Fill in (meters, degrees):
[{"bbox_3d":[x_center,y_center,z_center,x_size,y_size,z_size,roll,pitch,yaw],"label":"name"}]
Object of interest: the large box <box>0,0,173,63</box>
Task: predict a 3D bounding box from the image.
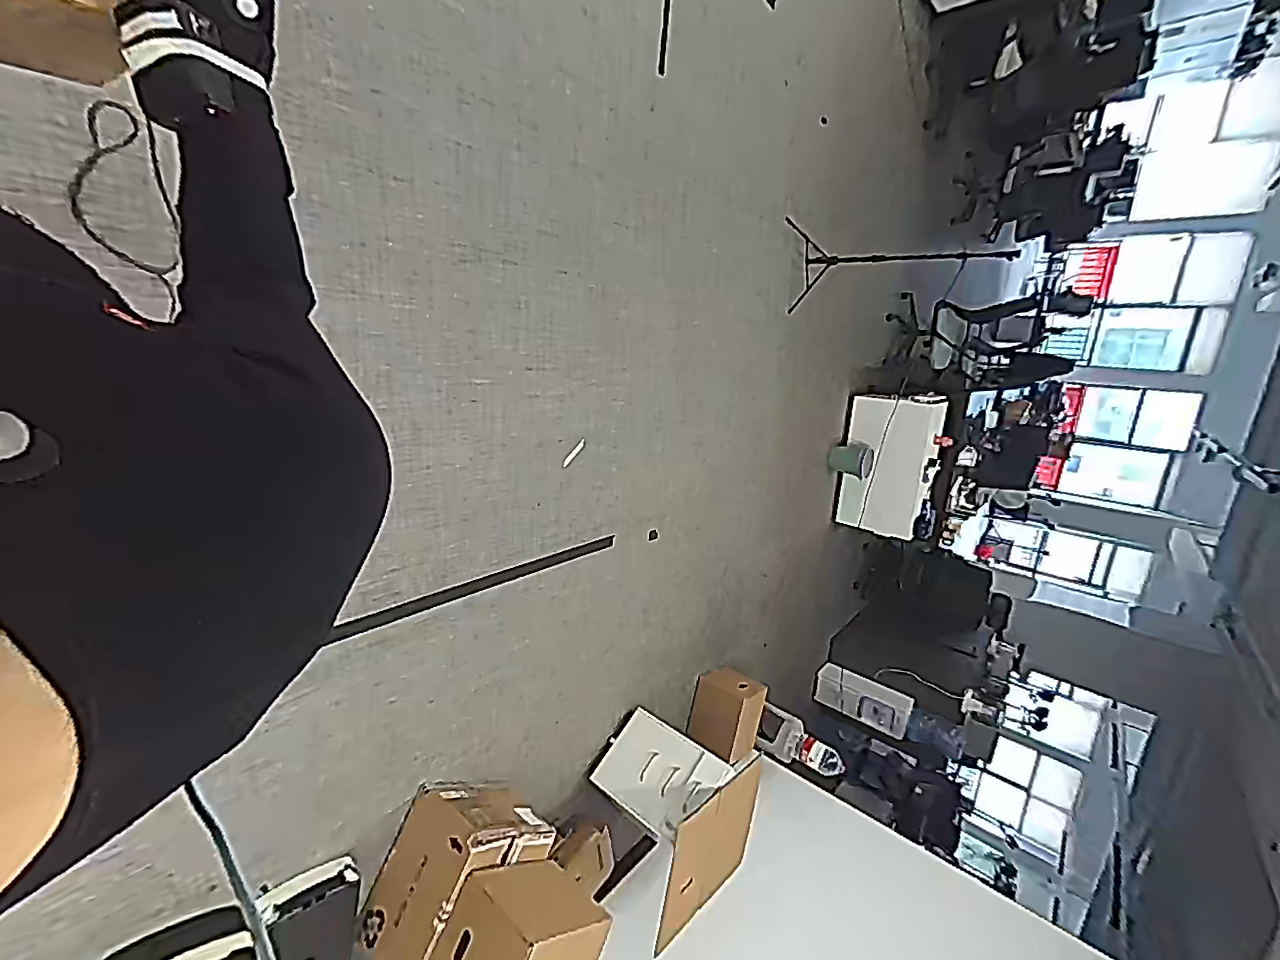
[{"bbox_3d":[-0.563,-0.477,0.274,0.408,0.320,0.320,-19,124,-48],"label":"large box"}]
